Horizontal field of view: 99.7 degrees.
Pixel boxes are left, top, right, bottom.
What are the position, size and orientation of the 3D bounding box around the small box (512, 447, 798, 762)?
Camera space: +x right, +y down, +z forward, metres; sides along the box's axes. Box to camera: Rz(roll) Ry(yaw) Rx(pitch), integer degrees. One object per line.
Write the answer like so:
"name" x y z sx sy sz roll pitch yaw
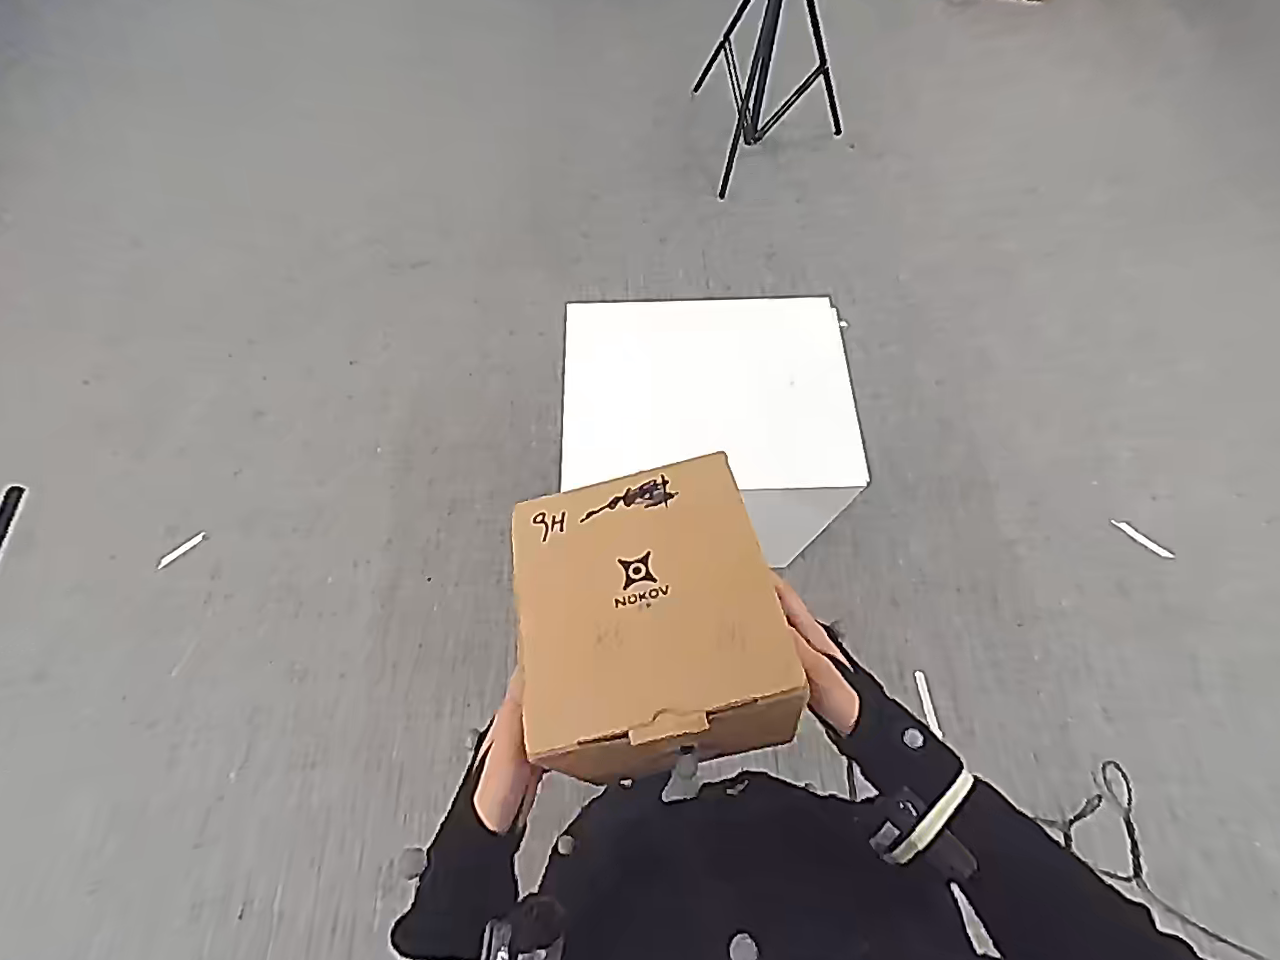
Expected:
"small box" 0.012 0.107 0.420 0.168 0.176 0.179 -15 56 2
